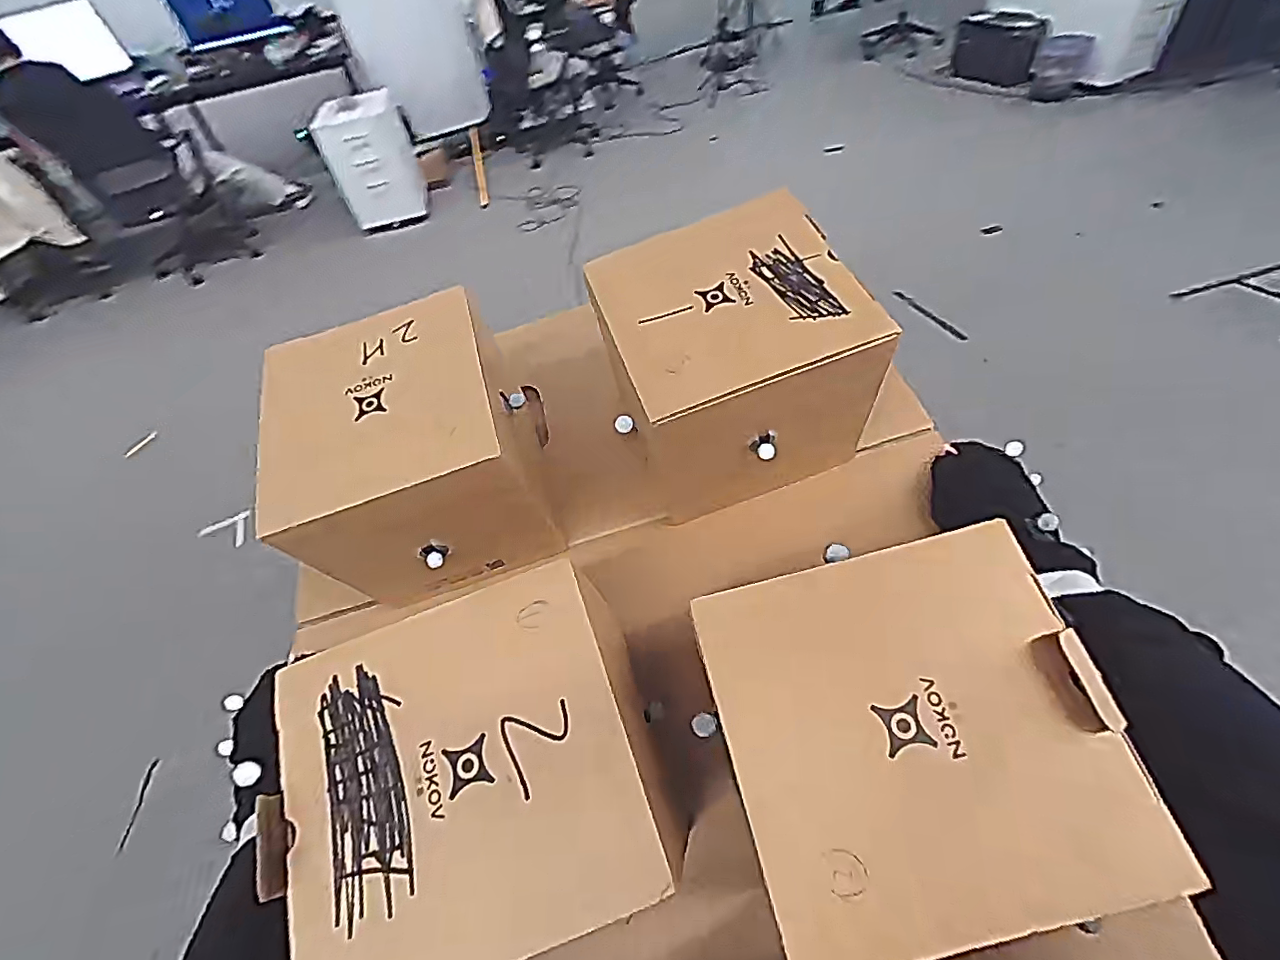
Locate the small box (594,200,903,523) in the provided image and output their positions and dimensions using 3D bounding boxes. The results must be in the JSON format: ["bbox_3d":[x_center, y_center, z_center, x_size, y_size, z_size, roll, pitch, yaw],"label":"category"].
[{"bbox_3d":[0.079,-0.088,0.454,0.179,0.176,0.168,-20,60,0],"label":"small box"}]

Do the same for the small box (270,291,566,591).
[{"bbox_3d":[-0.173,-0.019,0.461,0.168,0.176,0.179,-18,60,-1],"label":"small box"}]
